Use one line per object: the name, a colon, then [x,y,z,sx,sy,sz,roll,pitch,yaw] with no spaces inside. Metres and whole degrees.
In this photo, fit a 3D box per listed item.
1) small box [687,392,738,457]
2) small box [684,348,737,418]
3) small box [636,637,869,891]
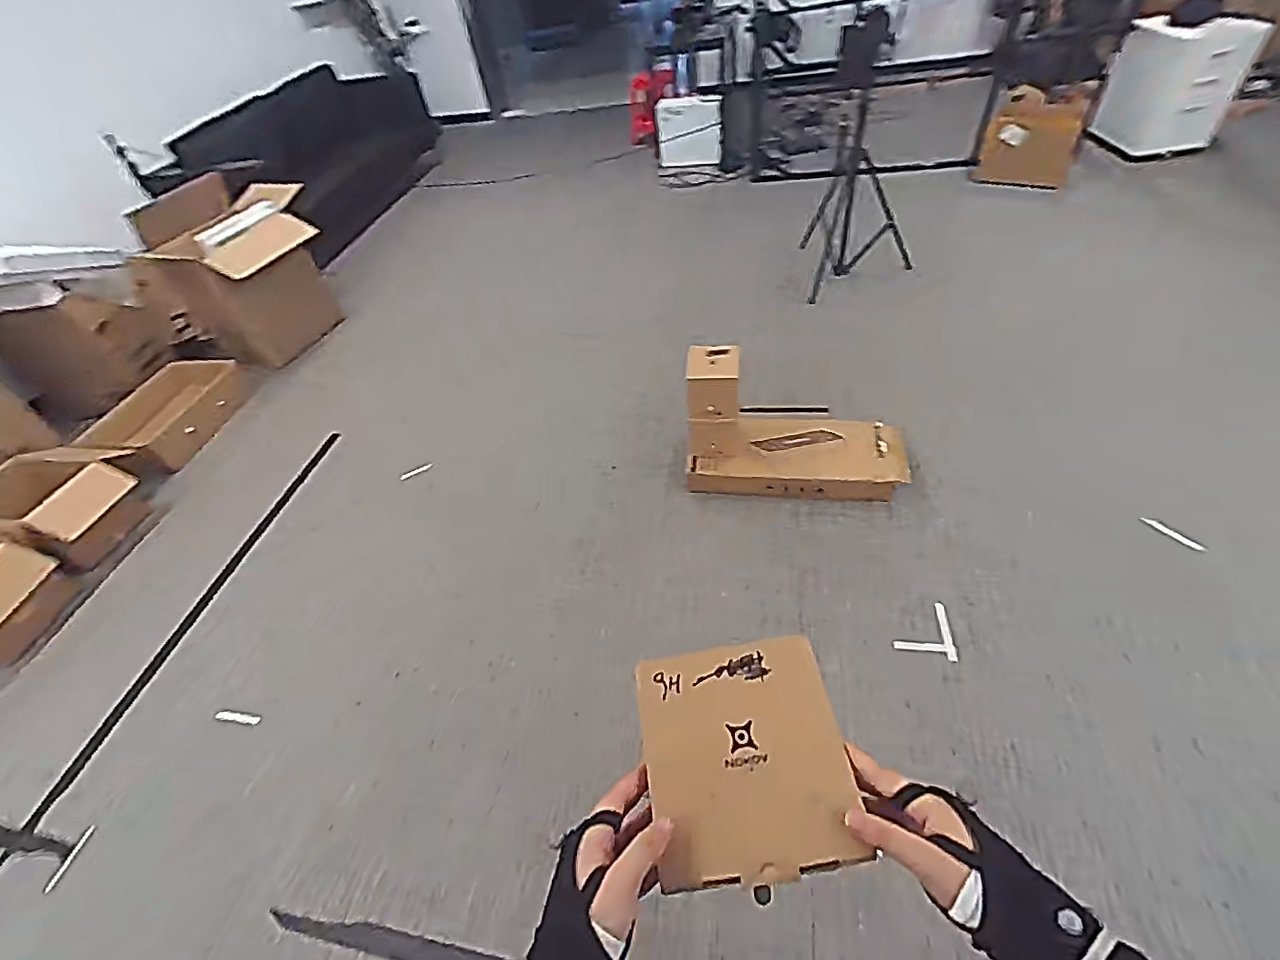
small box: [0.261,-0.204,1.929,0.168,0.176,0.179,2,48,11]
small box: [0.241,-0.327,1.821,0.168,0.176,0.179,1,48,10]
small box: [0.093,0.272,0.517,0.168,0.176,0.179,-8,53,1]
